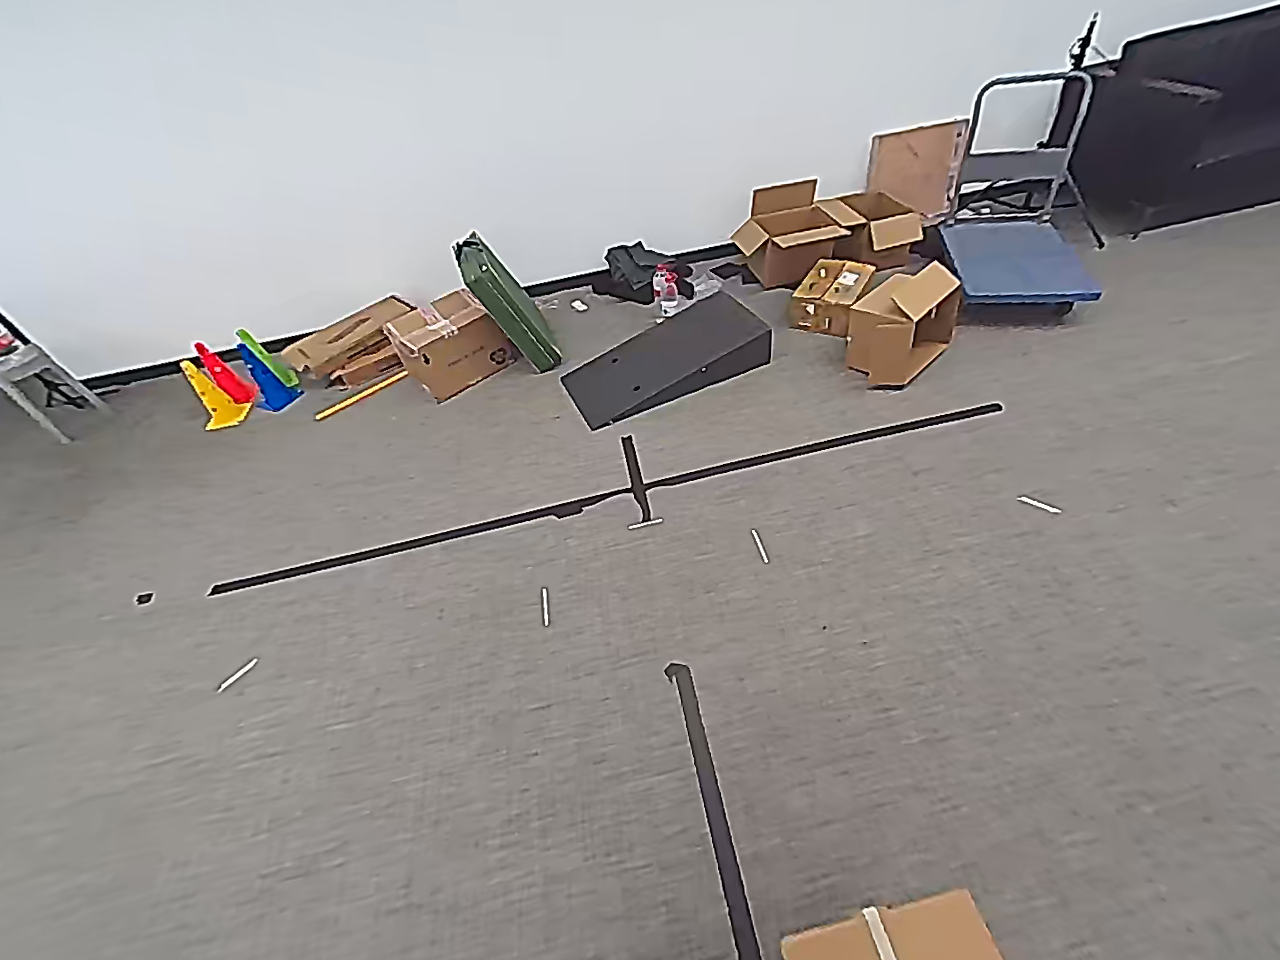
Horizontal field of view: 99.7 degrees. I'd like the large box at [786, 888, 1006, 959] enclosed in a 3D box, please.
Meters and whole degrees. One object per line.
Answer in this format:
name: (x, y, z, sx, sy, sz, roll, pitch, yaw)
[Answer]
large box: (0.451, 0.925, 0.838, 0.320, 0.320, 0.408, -18, 47, 3)
